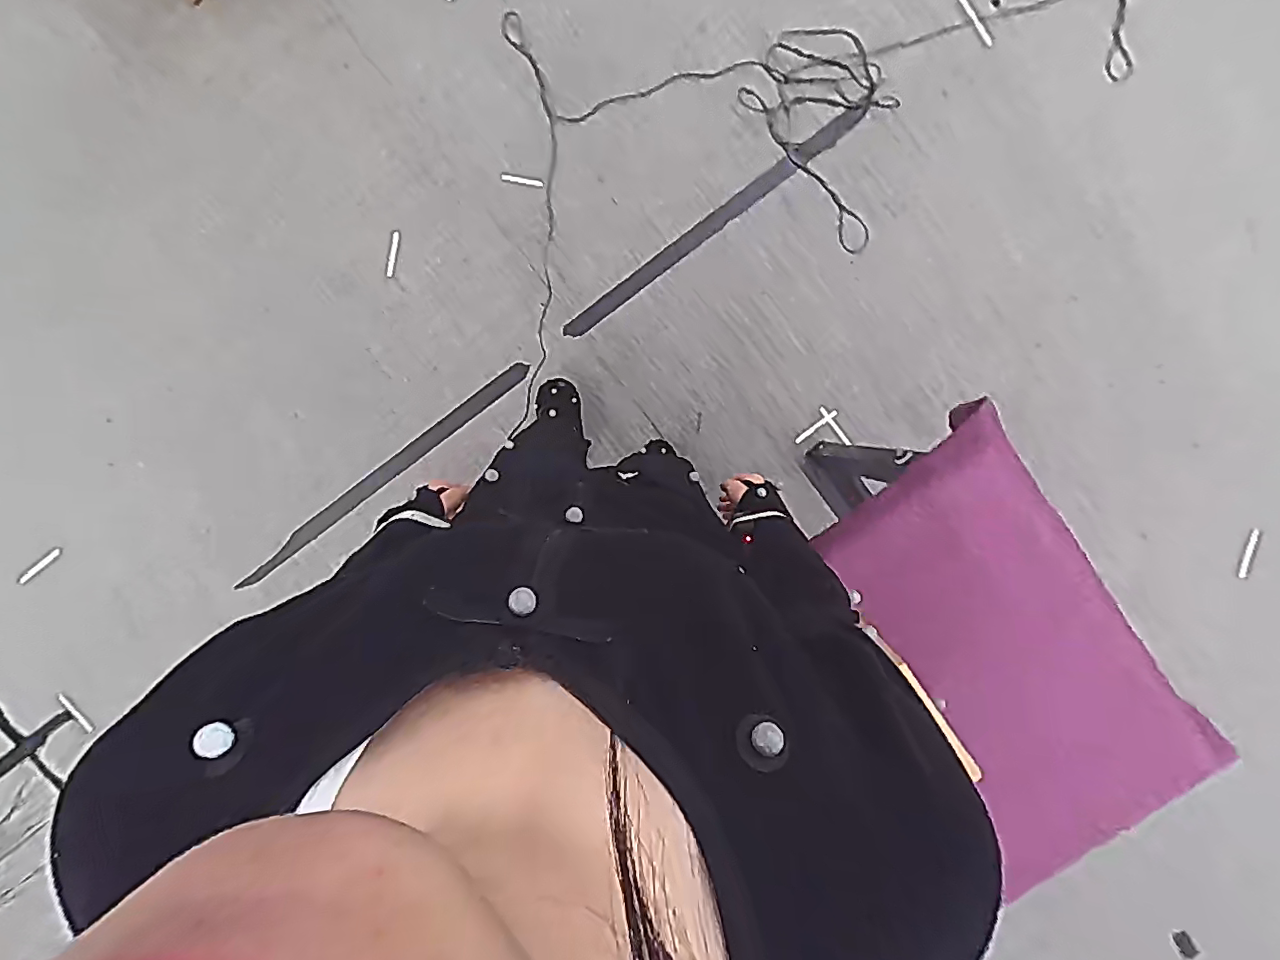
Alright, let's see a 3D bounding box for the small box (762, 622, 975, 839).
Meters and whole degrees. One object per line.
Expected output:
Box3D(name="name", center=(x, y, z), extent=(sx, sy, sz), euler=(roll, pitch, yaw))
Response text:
Box3D(name="small box", center=(0.287, 0.314, 0.724), extent=(0.168, 0.176, 0.179), euler=(-35, 96, 4))
